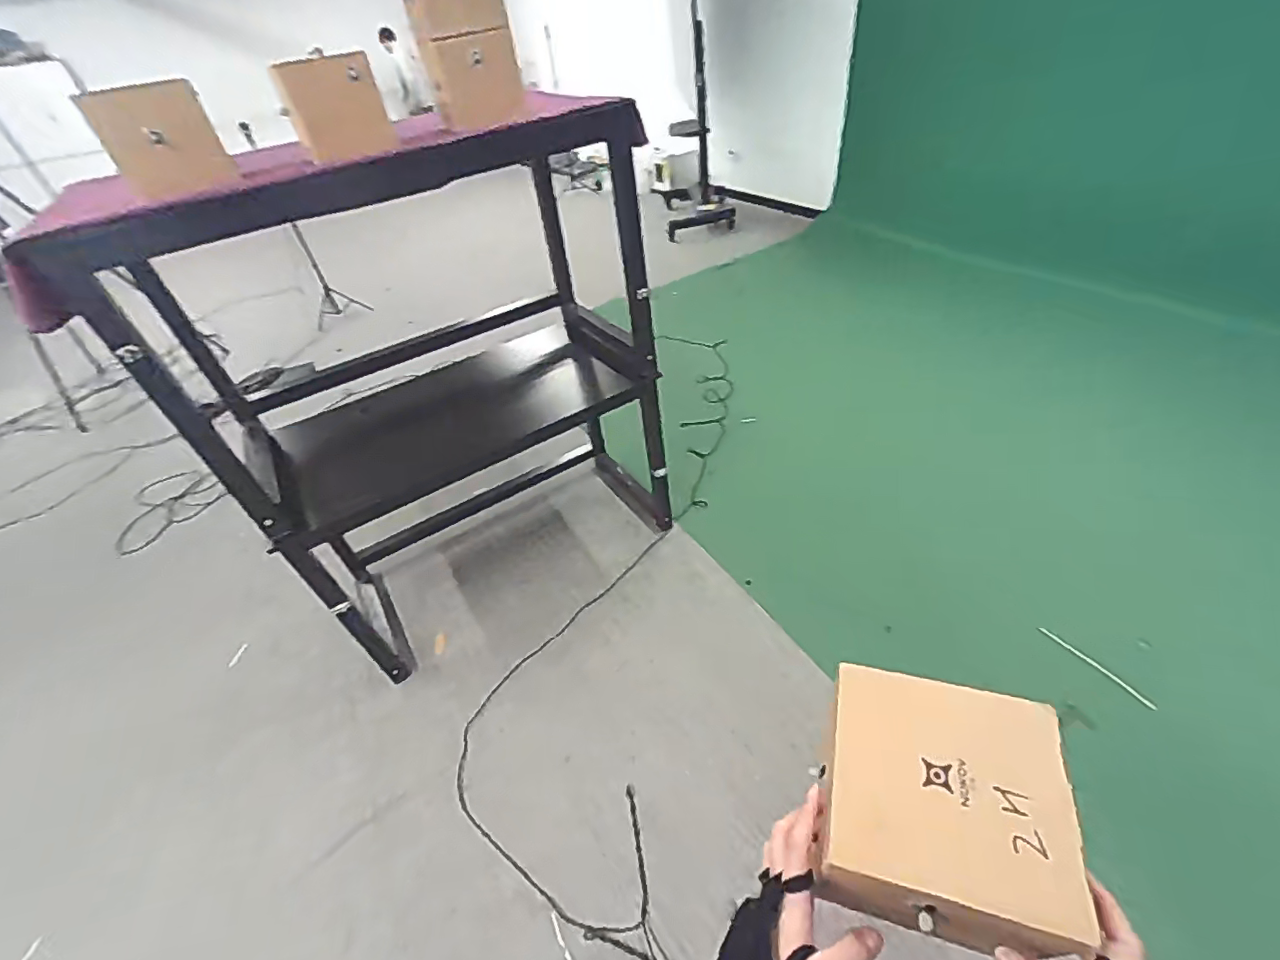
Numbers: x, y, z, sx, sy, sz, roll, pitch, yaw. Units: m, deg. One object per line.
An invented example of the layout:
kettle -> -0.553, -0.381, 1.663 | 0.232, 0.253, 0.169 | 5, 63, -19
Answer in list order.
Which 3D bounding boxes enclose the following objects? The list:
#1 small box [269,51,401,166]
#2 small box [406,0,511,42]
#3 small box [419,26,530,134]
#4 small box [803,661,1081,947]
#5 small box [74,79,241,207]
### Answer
small box -> -0.633, -0.772, 1.129 | 0.179, 0.176, 0.168 | -28, 44, -21
small box -> -0.393, -1.025, 1.119 | 0.179, 0.176, 0.168 | -26, 45, -16
small box -> -0.372, -0.903, 1.226 | 0.179, 0.176, 0.168 | -25, 44, -17
small box -> 0.249, 0.294, 0.494 | 0.179, 0.176, 0.168 | 7, 48, 17
small box -> -0.886, -0.635, 1.015 | 0.179, 0.176, 0.168 | -30, 45, -21
